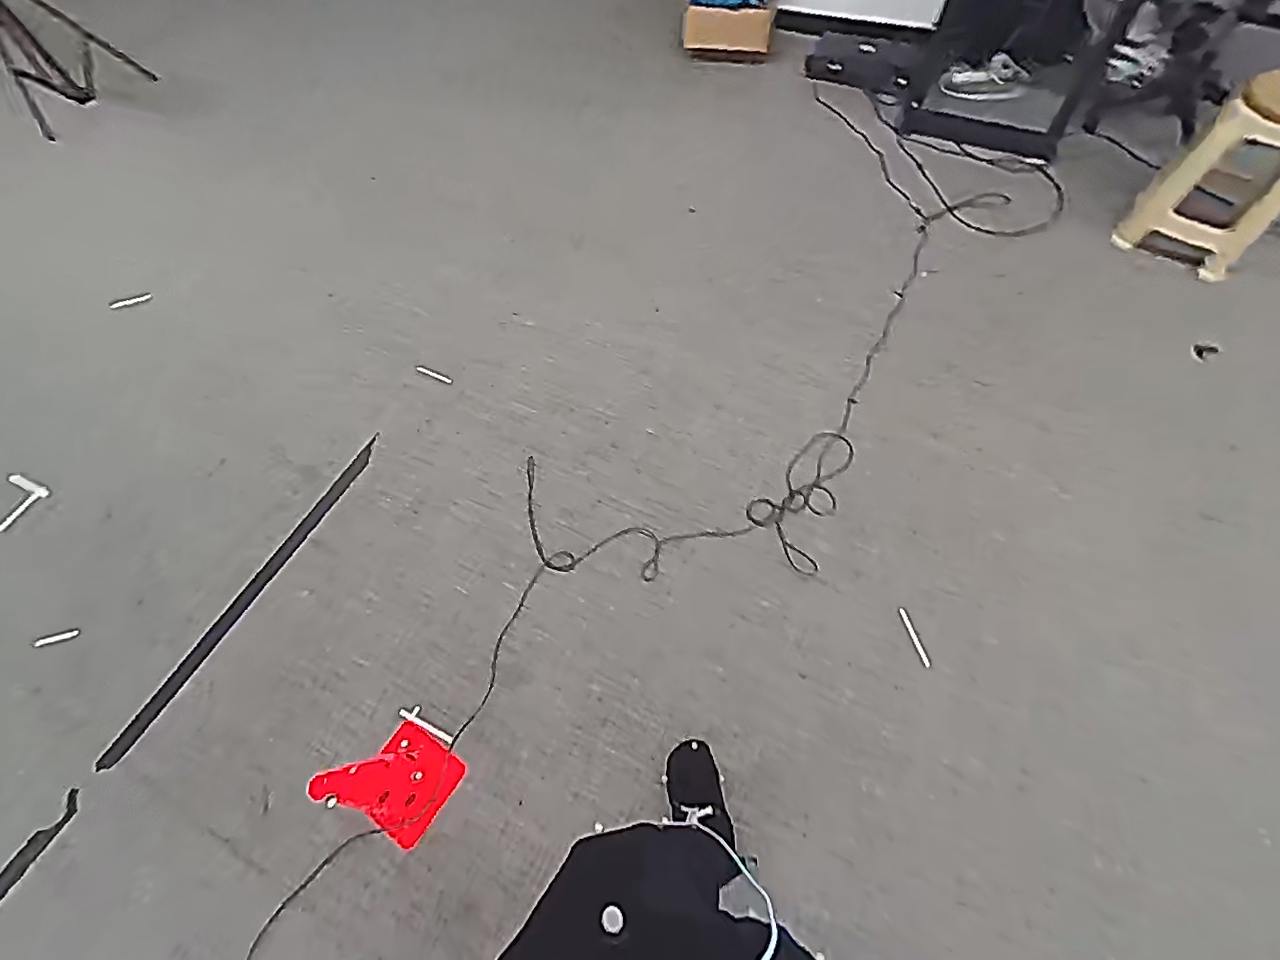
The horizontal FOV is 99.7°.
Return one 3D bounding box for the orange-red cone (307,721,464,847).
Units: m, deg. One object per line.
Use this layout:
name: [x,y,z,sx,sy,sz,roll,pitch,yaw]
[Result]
orange-red cone: [-0.536,0.602,1.072,0.198,0.360,0.199,30,69,19]
